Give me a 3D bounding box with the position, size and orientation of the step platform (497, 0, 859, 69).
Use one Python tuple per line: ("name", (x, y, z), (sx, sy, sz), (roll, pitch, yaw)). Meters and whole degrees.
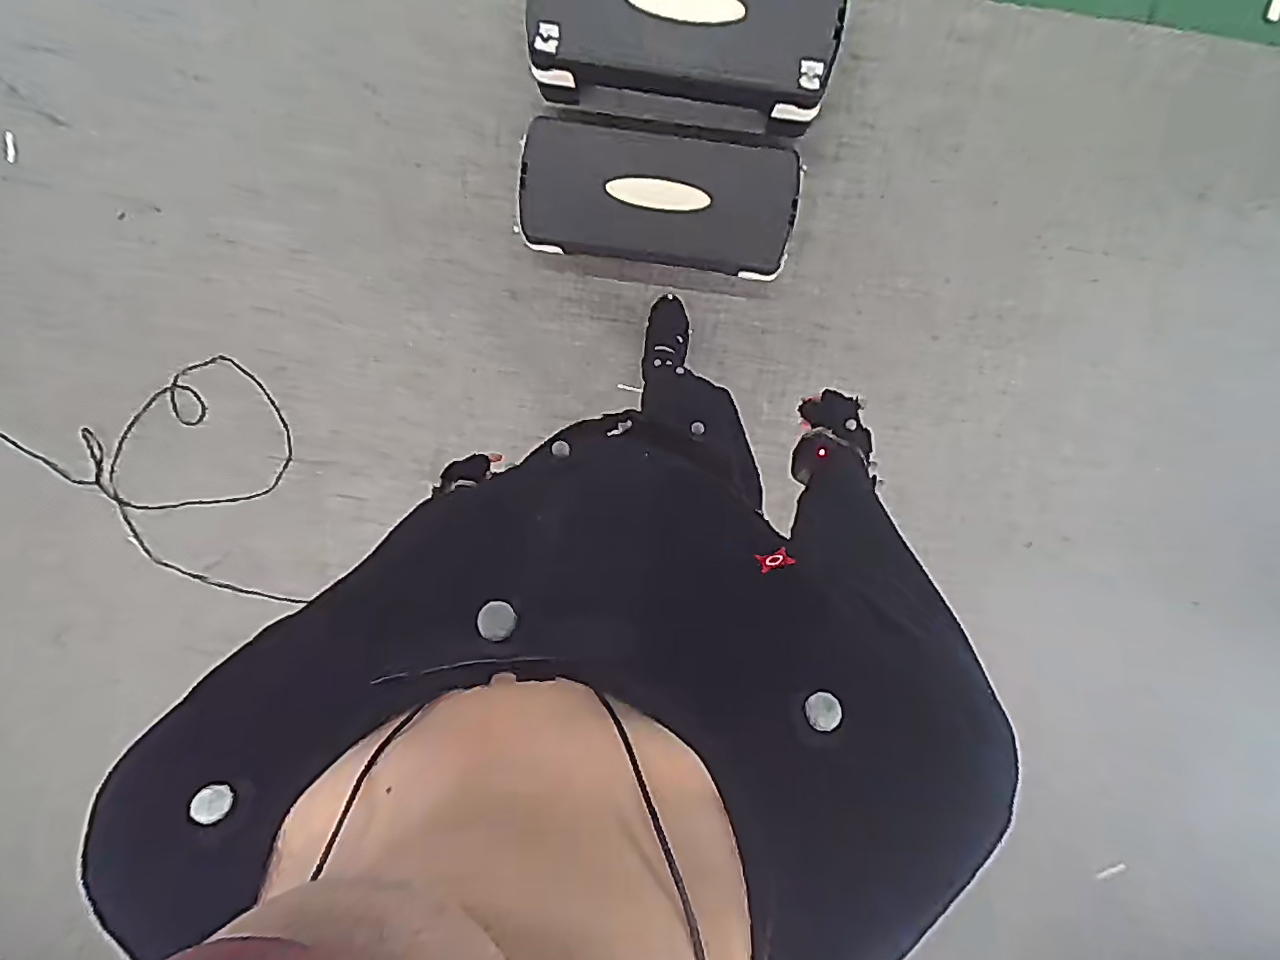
("step platform", (0.065, -0.987, 0.989), (0.684, 0.204, 0.286), (8, 102, 1))
